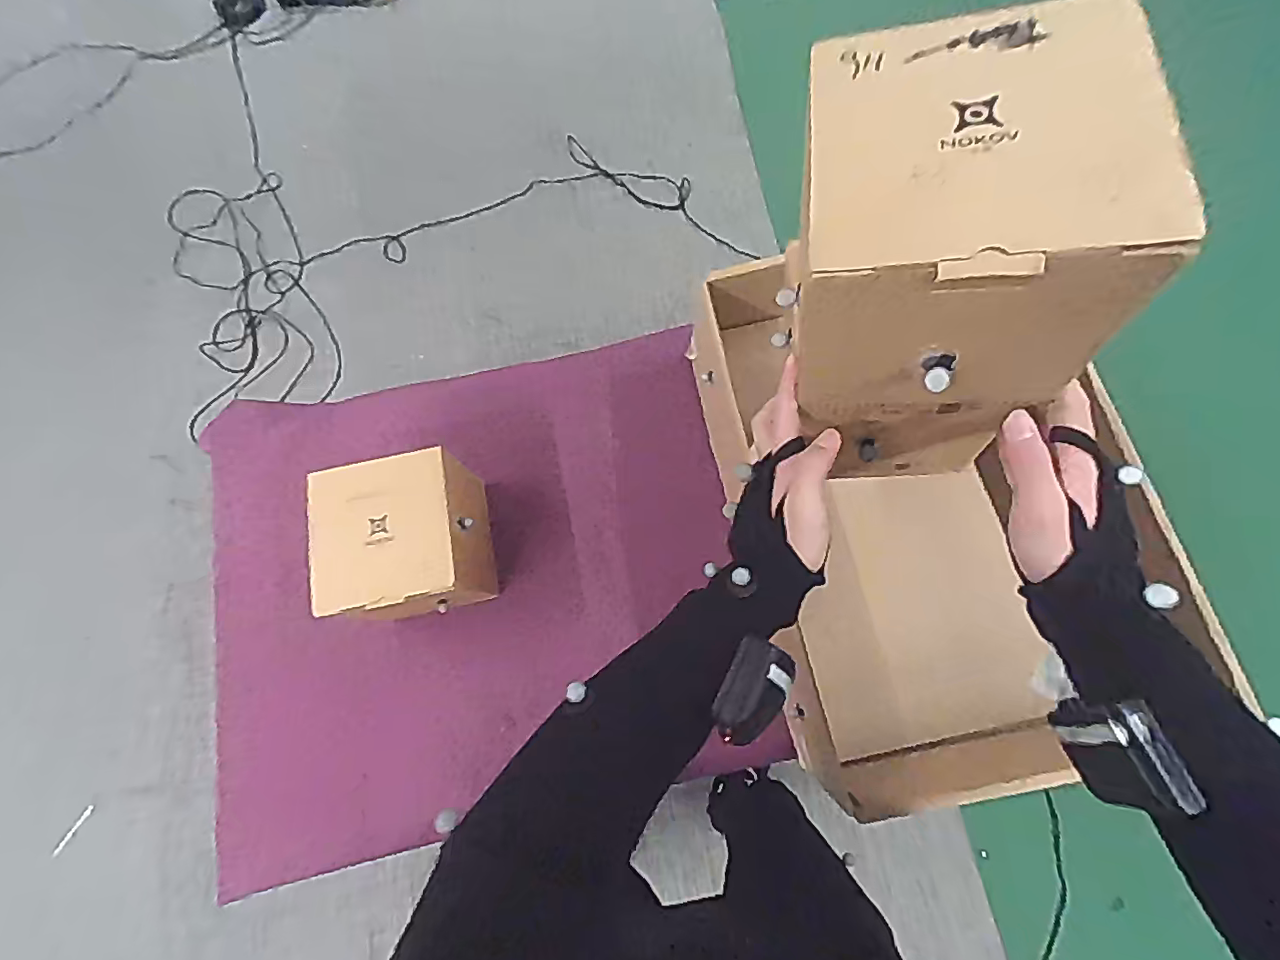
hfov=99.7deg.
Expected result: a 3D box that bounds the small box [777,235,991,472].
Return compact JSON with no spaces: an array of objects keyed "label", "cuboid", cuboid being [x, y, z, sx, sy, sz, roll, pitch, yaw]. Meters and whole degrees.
[{"label":"small box","cuboid":[0.216,-0.110,0.500,0.168,0.176,0.179,-3,71,14]}]

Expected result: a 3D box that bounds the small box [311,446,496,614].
[{"label":"small box","cuboid":[-0.298,0.075,0.709,0.168,0.176,0.179,-11,75,0]}]

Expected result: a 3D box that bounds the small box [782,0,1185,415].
[{"label":"small box","cuboid":[0.180,-0.150,0.344,0.168,0.176,0.179,3,73,15]}]
